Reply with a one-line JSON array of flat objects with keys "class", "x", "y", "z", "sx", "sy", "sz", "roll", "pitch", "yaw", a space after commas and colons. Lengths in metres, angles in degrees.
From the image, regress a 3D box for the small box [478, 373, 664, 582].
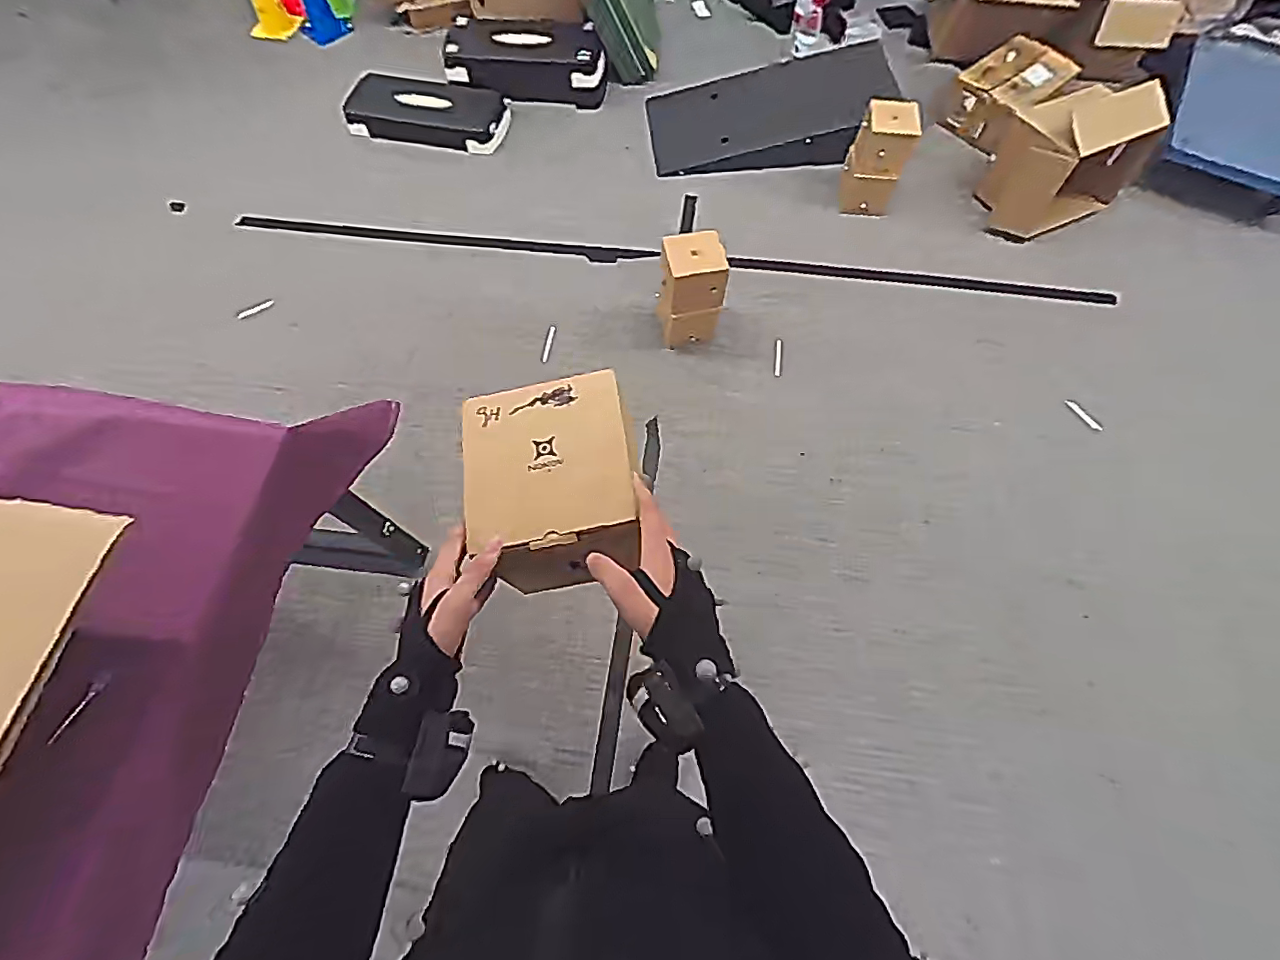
[{"class": "small box", "x": -0.071, "y": 0.010, "z": 0.610, "sx": 0.168, "sy": 0.176, "sz": 0.179, "roll": -11, "pitch": 66, "yaw": 3}]
